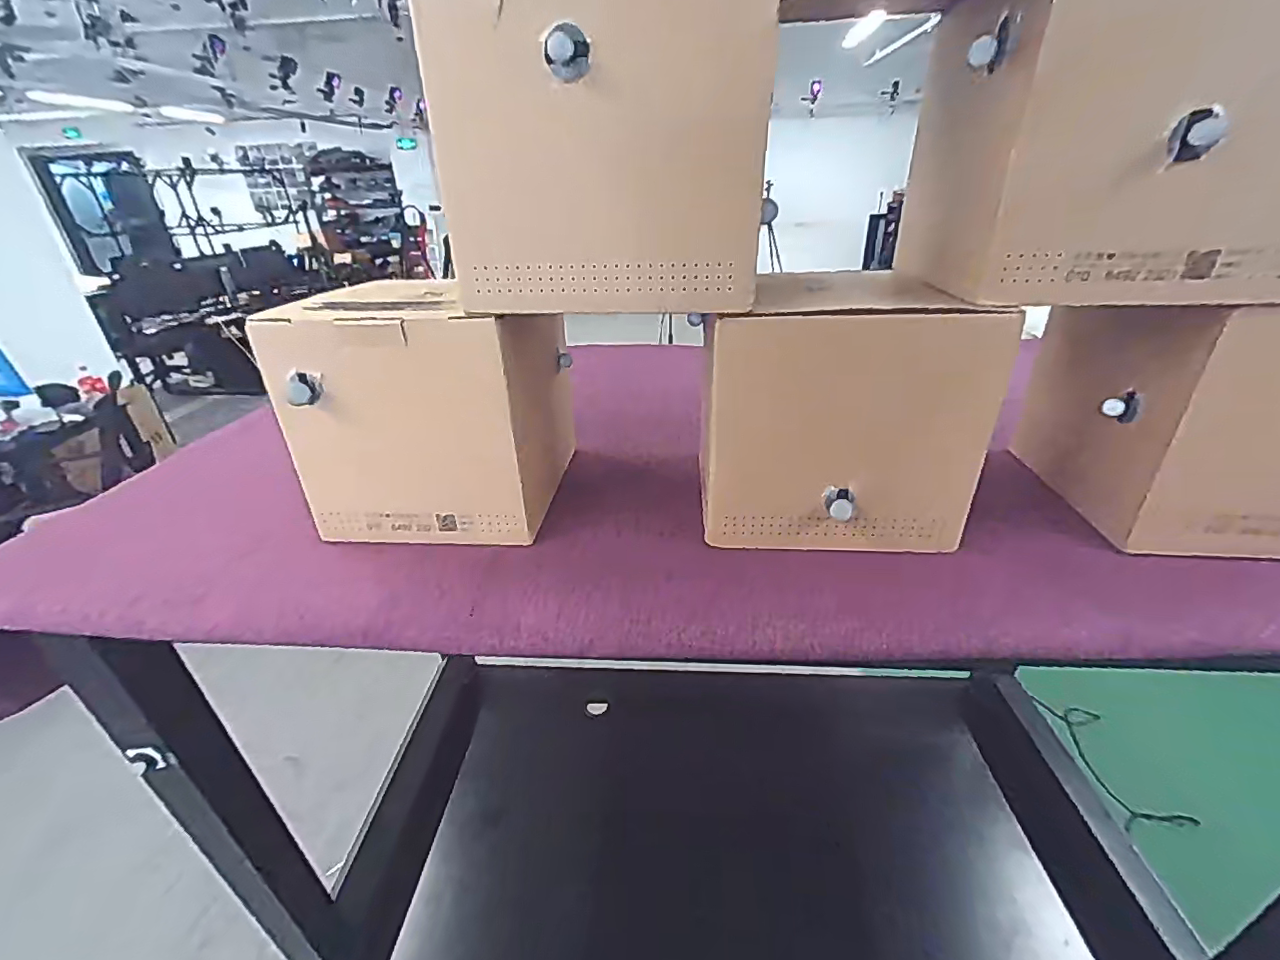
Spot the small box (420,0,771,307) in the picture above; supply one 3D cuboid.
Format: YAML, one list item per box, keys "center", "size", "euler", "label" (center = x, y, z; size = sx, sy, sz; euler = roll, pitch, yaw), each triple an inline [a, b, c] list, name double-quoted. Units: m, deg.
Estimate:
- center: [-0.015, -0.209, 0.345]
  size: [0.179, 0.176, 0.168]
  euler: [2, 28, 6]
  label: "small box"

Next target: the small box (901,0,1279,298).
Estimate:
- center: [0.278, -0.209, 0.327]
  size: [0.168, 0.176, 0.179]
  euler: [2, 28, 8]
  label: "small box"

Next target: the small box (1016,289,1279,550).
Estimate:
- center: [0.415, -0.062, 0.390]
  size: [0.168, 0.176, 0.179]
  euler: [2, 28, 8]
  label: "small box"
